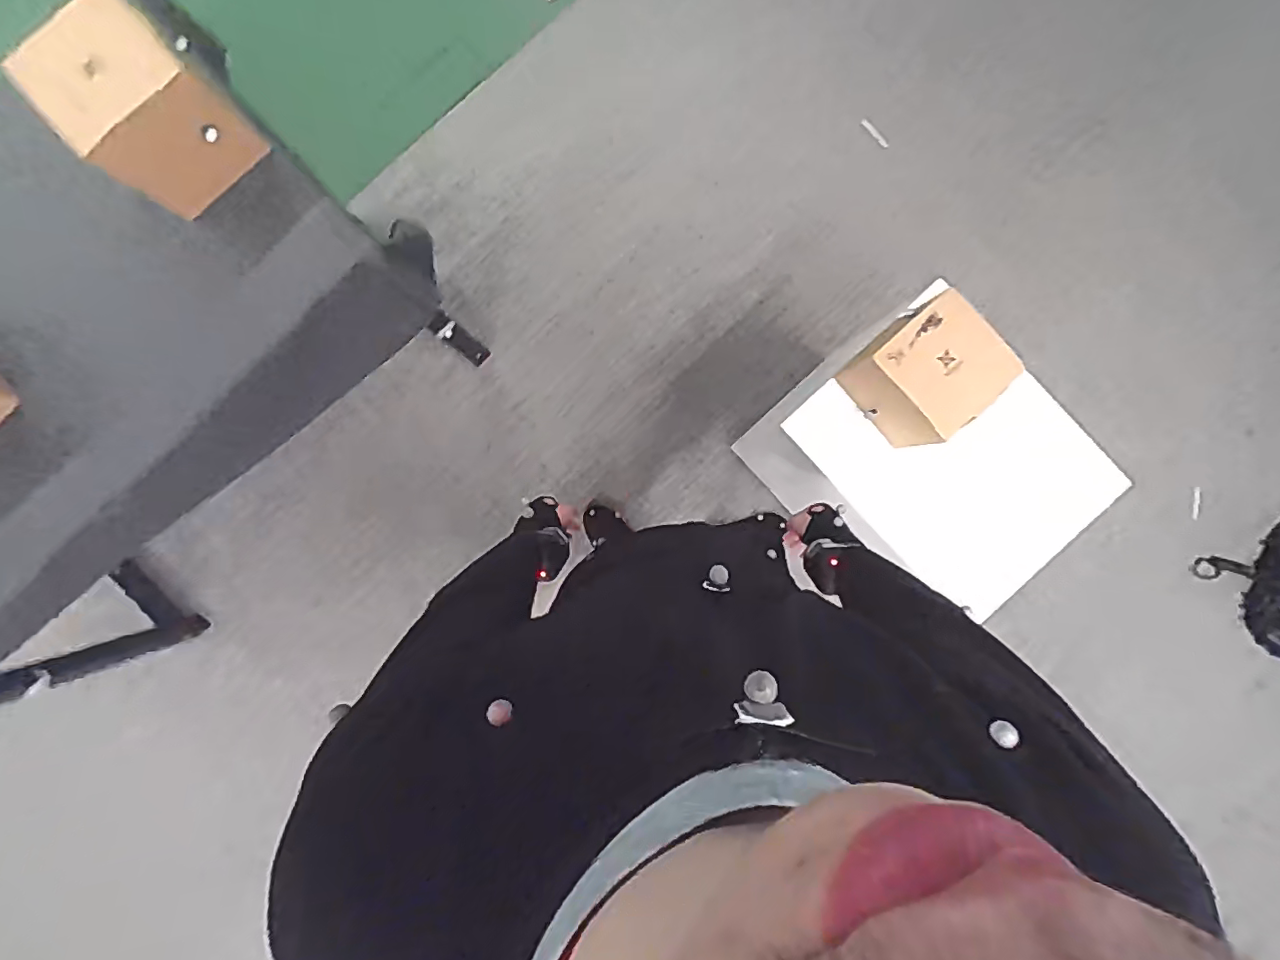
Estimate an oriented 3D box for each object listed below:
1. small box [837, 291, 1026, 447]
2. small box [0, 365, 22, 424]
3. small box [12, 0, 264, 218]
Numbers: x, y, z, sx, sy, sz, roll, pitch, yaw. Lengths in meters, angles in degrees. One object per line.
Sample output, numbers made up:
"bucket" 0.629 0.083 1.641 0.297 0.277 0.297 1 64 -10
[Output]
"small box" 0.463 -0.170 0.887 0.168 0.176 0.179 -41 91 0
"small box" -1.074 -0.130 0.767 0.179 0.176 0.168 -43 89 -1
"small box" -0.686 -0.521 0.768 0.179 0.176 0.168 -42 88 1
